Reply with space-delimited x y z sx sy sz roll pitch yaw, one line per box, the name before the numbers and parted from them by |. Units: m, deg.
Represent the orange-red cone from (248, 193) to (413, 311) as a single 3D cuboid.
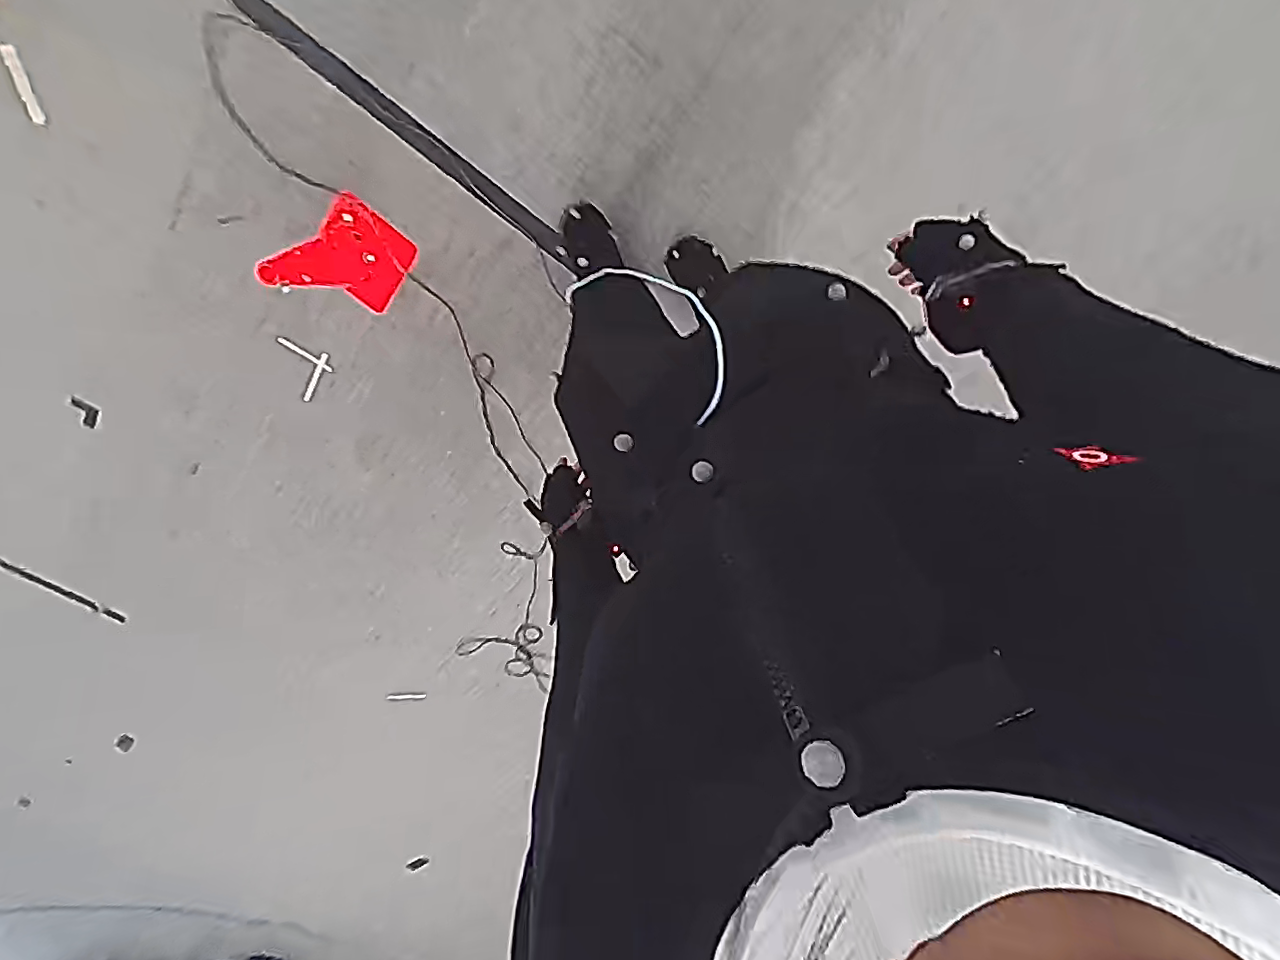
orange-red cone | -0.651 -0.438 1.091 0.198 0.360 0.199 39 113 -16
